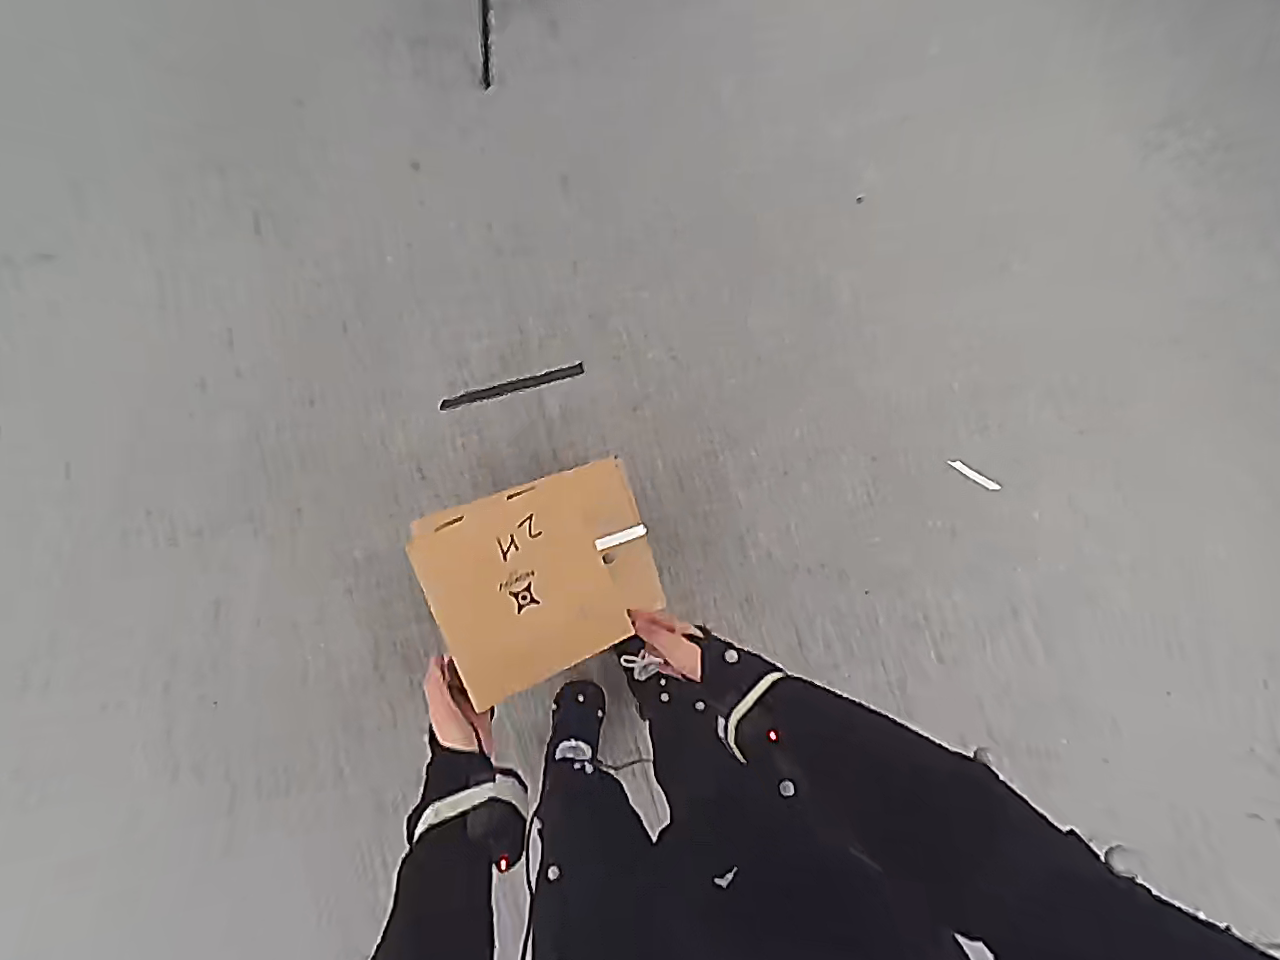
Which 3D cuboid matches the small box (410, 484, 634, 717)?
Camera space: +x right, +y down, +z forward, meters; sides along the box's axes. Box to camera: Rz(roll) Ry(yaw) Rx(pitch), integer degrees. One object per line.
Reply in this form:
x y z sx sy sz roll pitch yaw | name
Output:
-0.122 0.121 0.597 0.168 0.176 0.179 -24 86 -11 | small box
